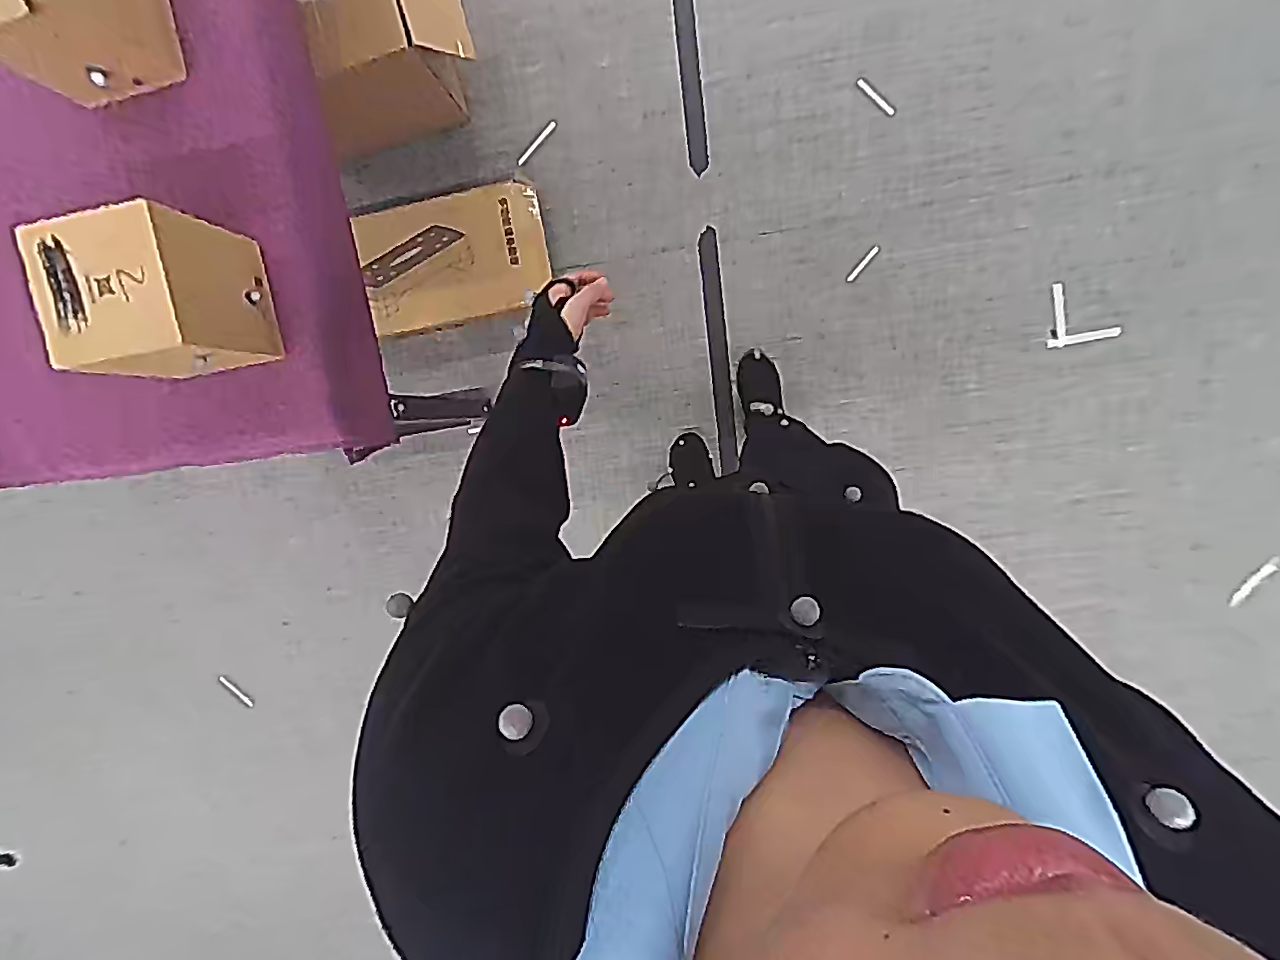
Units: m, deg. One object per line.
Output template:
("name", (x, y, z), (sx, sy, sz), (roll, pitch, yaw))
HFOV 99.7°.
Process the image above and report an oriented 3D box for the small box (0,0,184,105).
("small box", (-0.718, -0.609, 0.659), (0.168, 0.176, 0.179), (-9, 97, 8))
